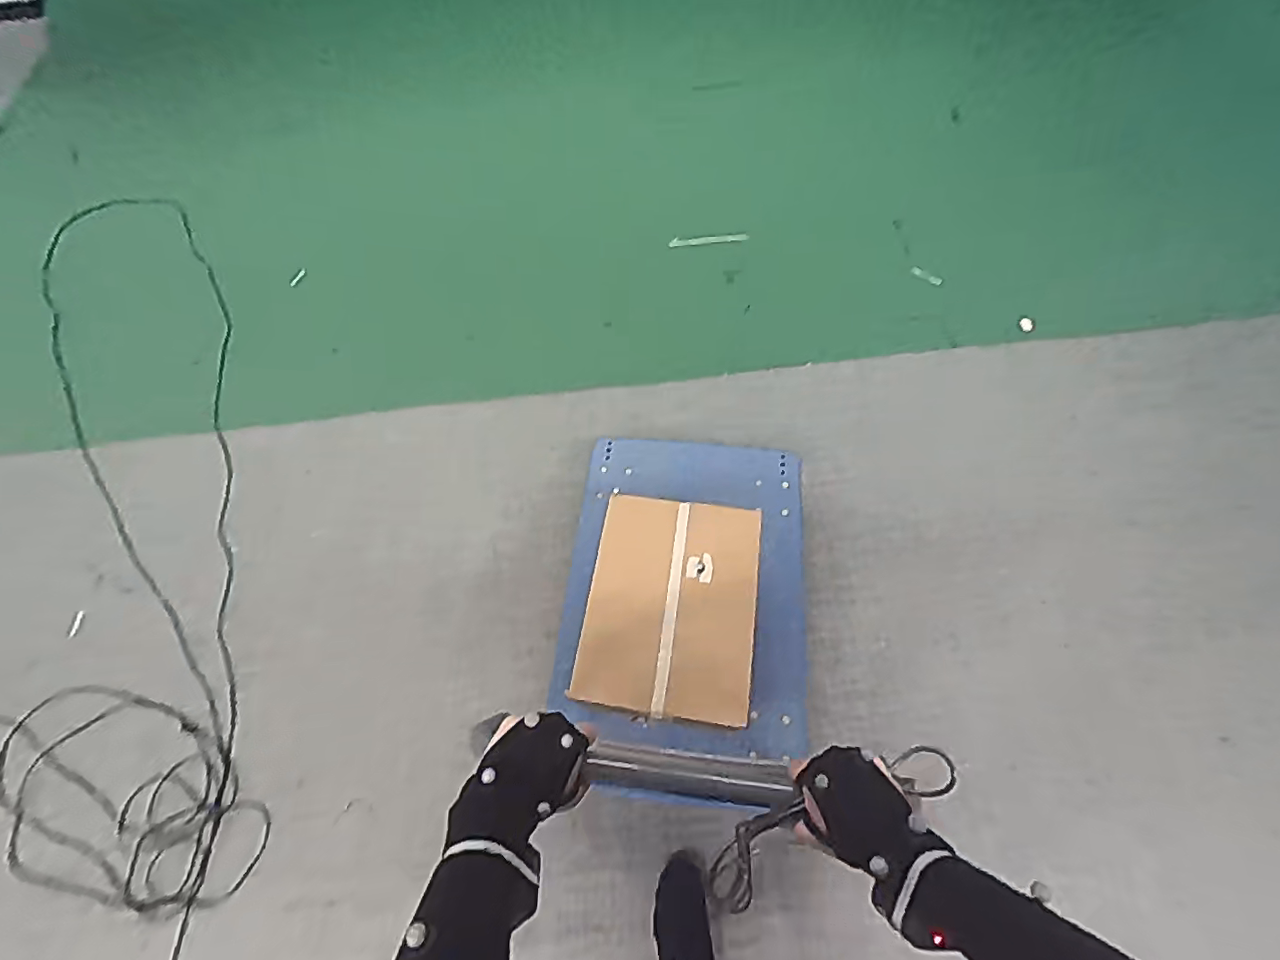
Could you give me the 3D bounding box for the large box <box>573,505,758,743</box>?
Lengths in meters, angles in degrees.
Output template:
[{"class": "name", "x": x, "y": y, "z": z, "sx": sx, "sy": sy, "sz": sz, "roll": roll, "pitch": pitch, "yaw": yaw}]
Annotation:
[{"class": "large box", "x": 0.067, "y": 0.313, "z": 1.151, "sx": 0.320, "sy": 0.320, "sz": 0.408, "roll": 7, "pitch": 62, "yaw": 6}]
